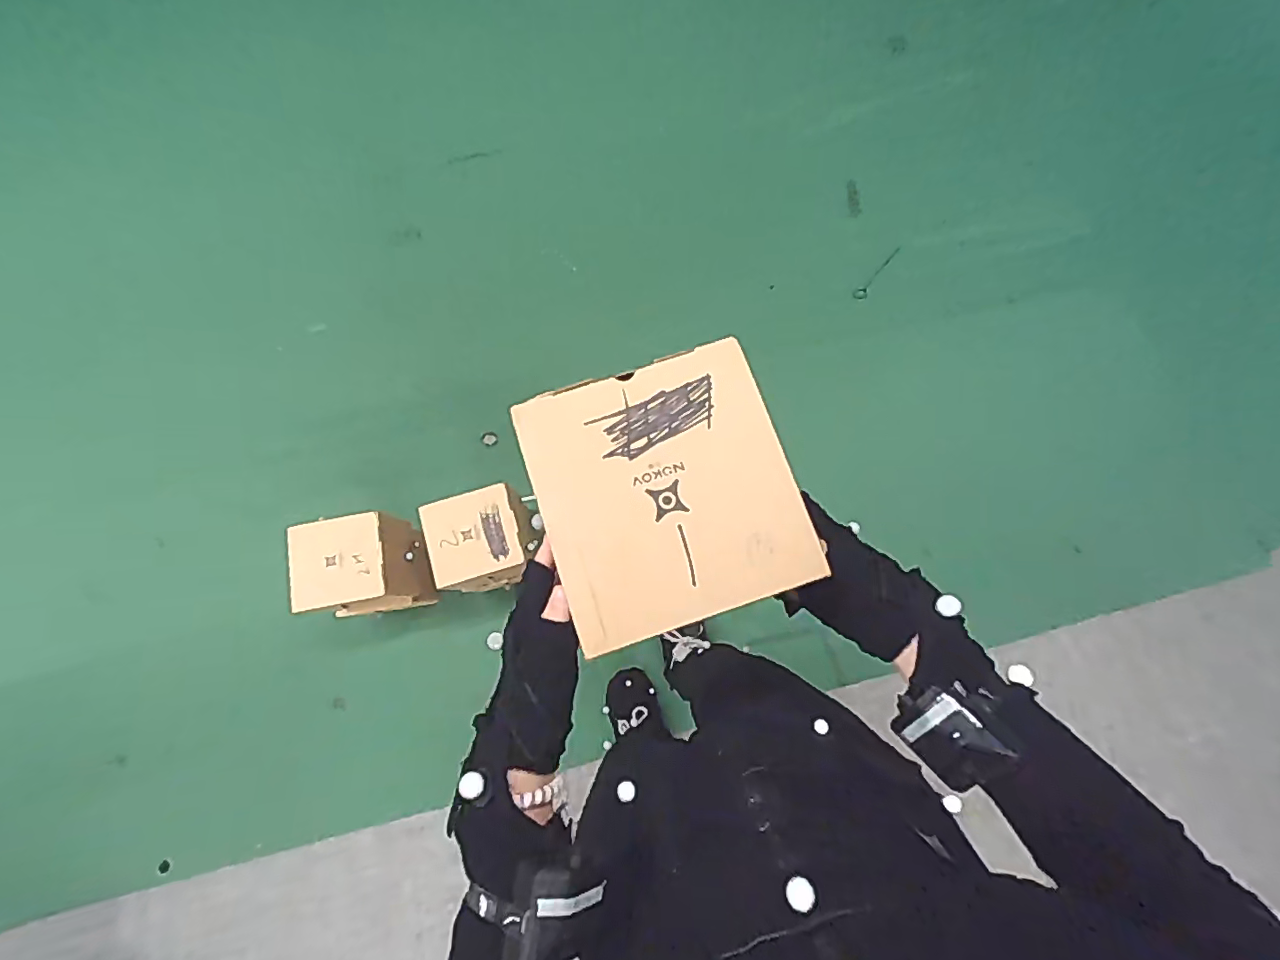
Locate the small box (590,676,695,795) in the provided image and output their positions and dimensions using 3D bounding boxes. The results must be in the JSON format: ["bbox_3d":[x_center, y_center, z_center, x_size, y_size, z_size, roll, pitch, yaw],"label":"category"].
[{"bbox_3d":[0.004,0.567,1.219,0.179,0.176,0.168,19,86,21],"label":"small box"}]

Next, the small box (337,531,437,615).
[{"bbox_3d":[-0.587,0.214,1.267,0.168,0.176,0.179,-9,78,-3],"label":"small box"}]

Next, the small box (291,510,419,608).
[{"bbox_3d":[-0.578,0.168,1.109,0.179,0.176,0.168,-10,78,-3],"label":"small box"}]
